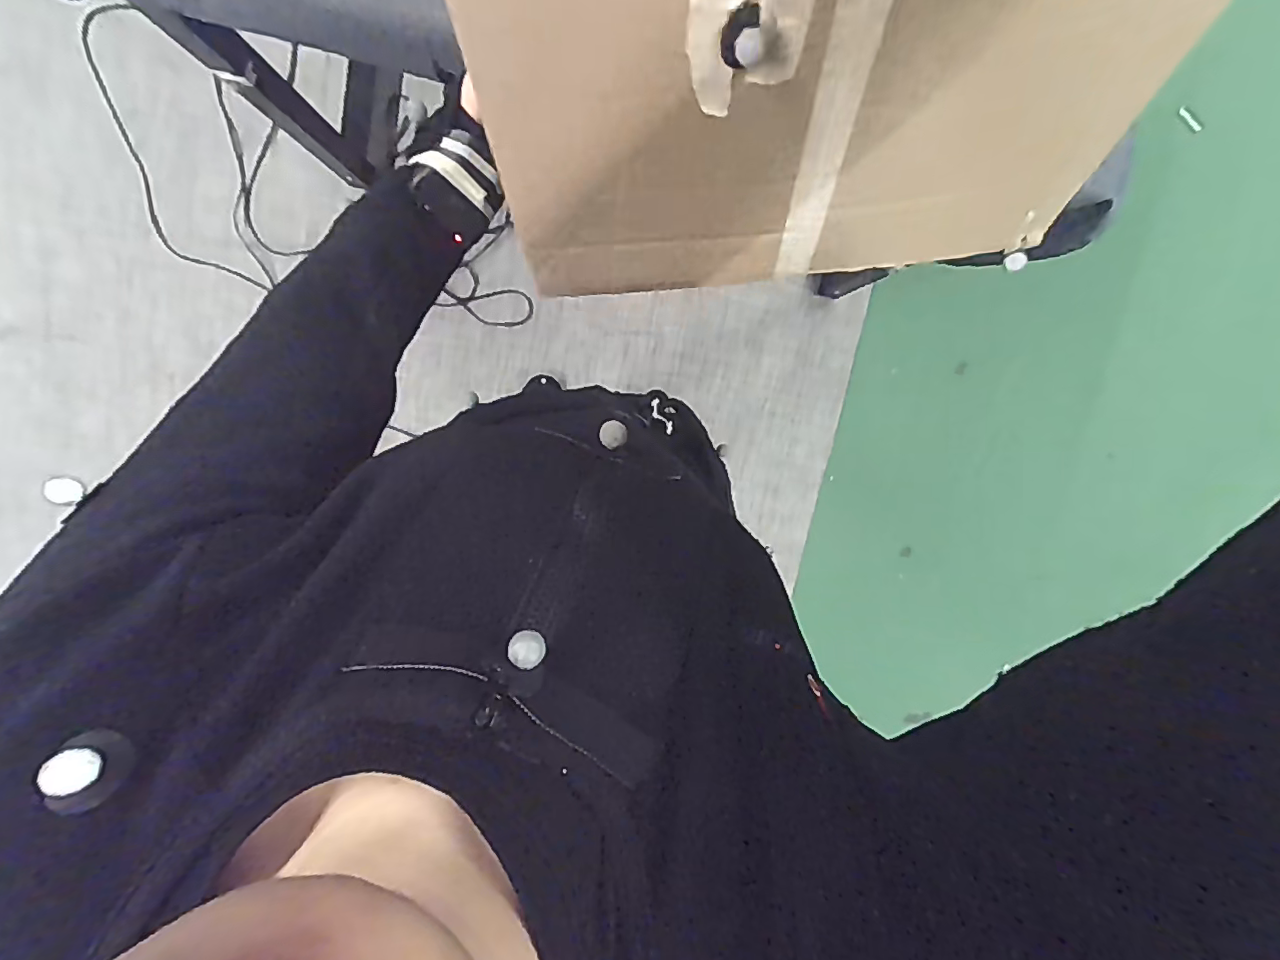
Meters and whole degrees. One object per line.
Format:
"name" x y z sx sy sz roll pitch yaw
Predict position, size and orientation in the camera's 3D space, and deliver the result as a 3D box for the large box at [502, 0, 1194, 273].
"large box" 0.076 -0.366 0.224 0.320 0.408 0.320 -7 68 0
